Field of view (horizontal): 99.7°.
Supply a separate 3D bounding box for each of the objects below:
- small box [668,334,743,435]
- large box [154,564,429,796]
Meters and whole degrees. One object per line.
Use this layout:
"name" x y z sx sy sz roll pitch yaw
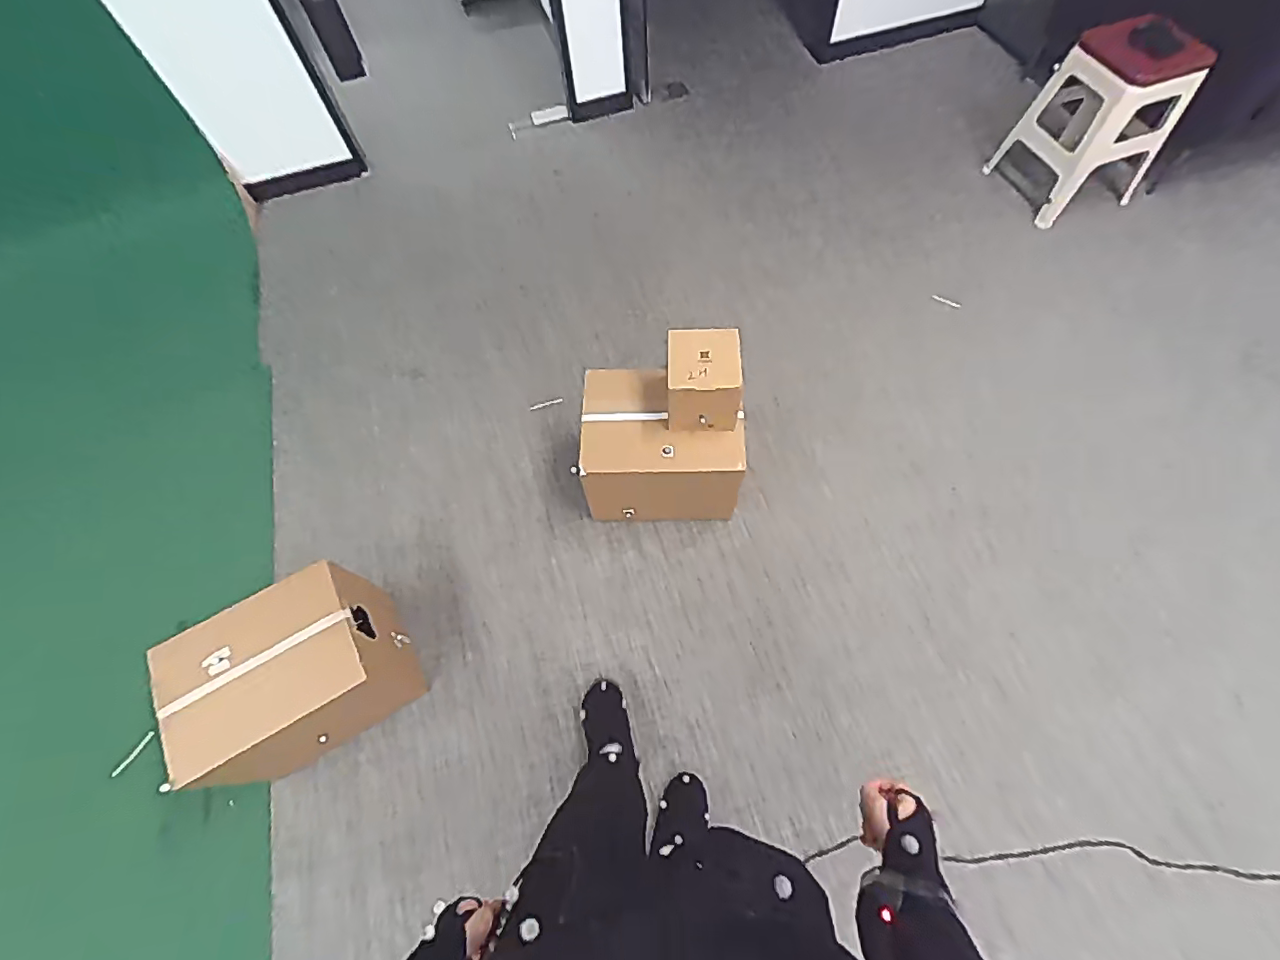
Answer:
"small box" 0.151 -0.227 1.290 0.168 0.176 0.179 0 62 4
"large box" -0.790 0.463 1.271 0.408 0.320 0.320 -30 65 -10
